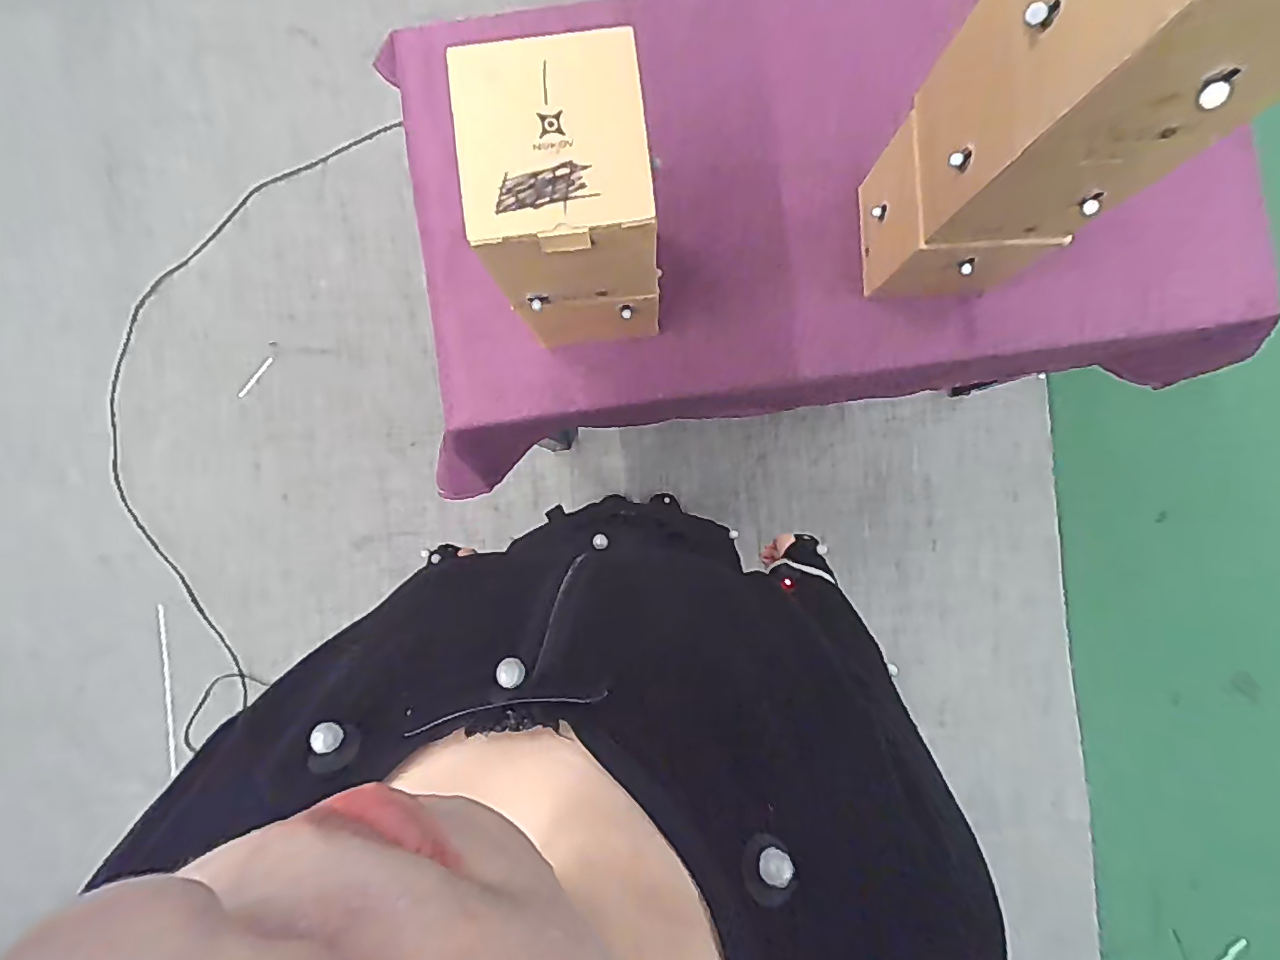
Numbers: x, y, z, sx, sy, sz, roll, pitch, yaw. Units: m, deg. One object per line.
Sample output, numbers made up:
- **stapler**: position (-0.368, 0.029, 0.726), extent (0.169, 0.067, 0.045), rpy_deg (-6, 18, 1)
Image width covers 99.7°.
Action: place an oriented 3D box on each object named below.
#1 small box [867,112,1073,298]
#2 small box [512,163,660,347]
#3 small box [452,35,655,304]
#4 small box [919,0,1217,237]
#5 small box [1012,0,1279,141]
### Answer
- **small box**: position (0.406, -0.345, 0.698), extent (0.179, 0.176, 0.168), rpy_deg (-2, 89, 2)
- **small box**: position (-0.067, -0.284, 0.716), extent (0.179, 0.176, 0.168), rpy_deg (-6, 88, 1)
- **small box**: position (-0.074, -0.293, 0.552), extent (0.168, 0.176, 0.179), rpy_deg (-7, 87, 1)
- **small box**: position (0.400, -0.358, 0.536), extent (0.168, 0.176, 0.179), rpy_deg (-2, 88, 2)
- **small box**: position (0.391, -0.363, 0.372), extent (0.168, 0.176, 0.179), rpy_deg (-3, 89, 1)
